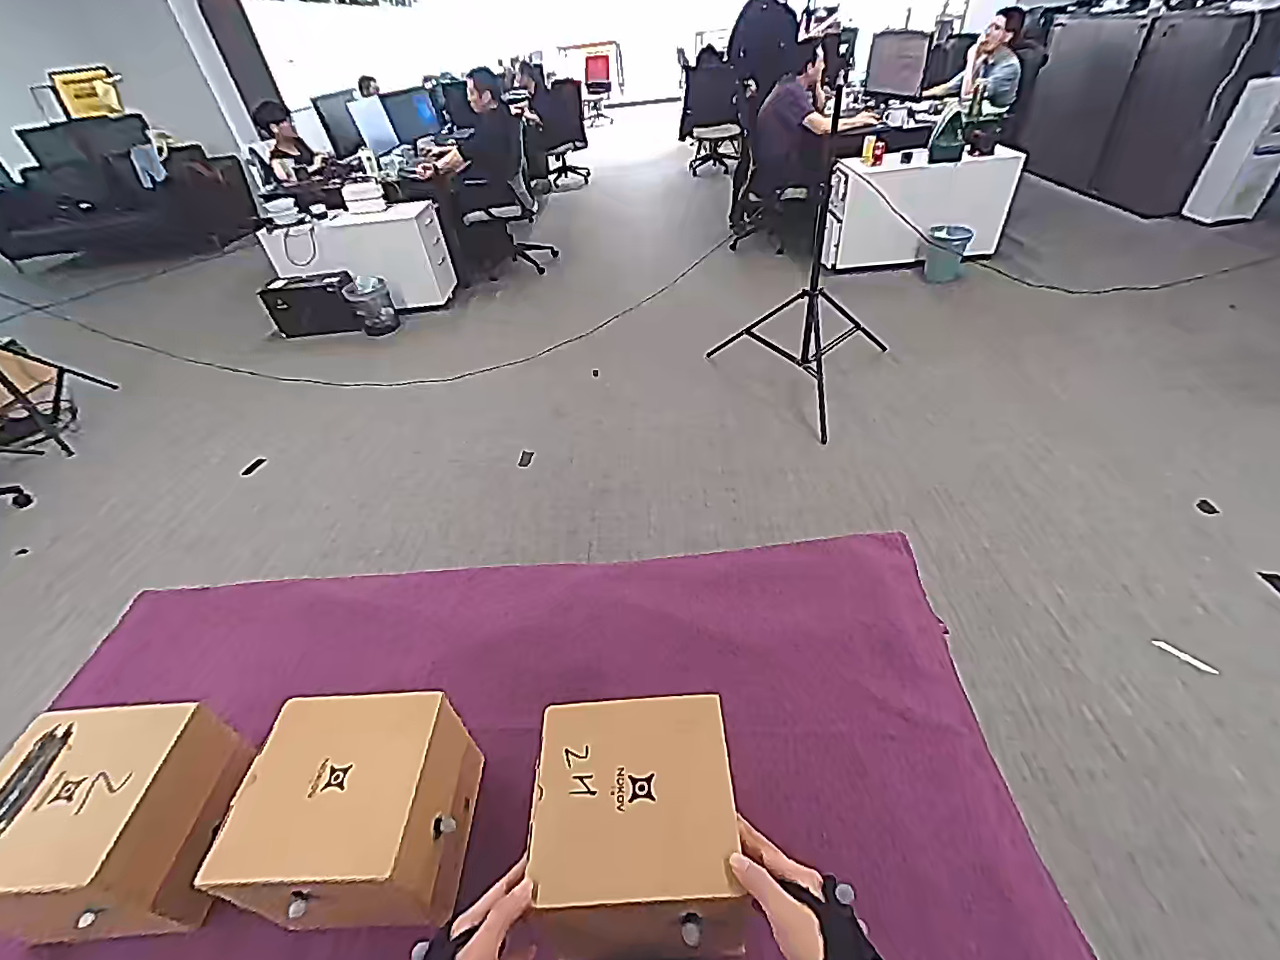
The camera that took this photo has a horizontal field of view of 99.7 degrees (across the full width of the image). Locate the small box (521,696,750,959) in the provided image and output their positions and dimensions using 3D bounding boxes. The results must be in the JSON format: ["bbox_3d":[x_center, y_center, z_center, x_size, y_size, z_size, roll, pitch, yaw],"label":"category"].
[{"bbox_3d":[0.002,0.331,0.516,0.179,0.176,0.168,-6,37,3],"label":"small box"}]

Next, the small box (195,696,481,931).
[{"bbox_3d":[-0.282,0.345,0.561,0.179,0.176,0.168,-5,40,3],"label":"small box"}]
